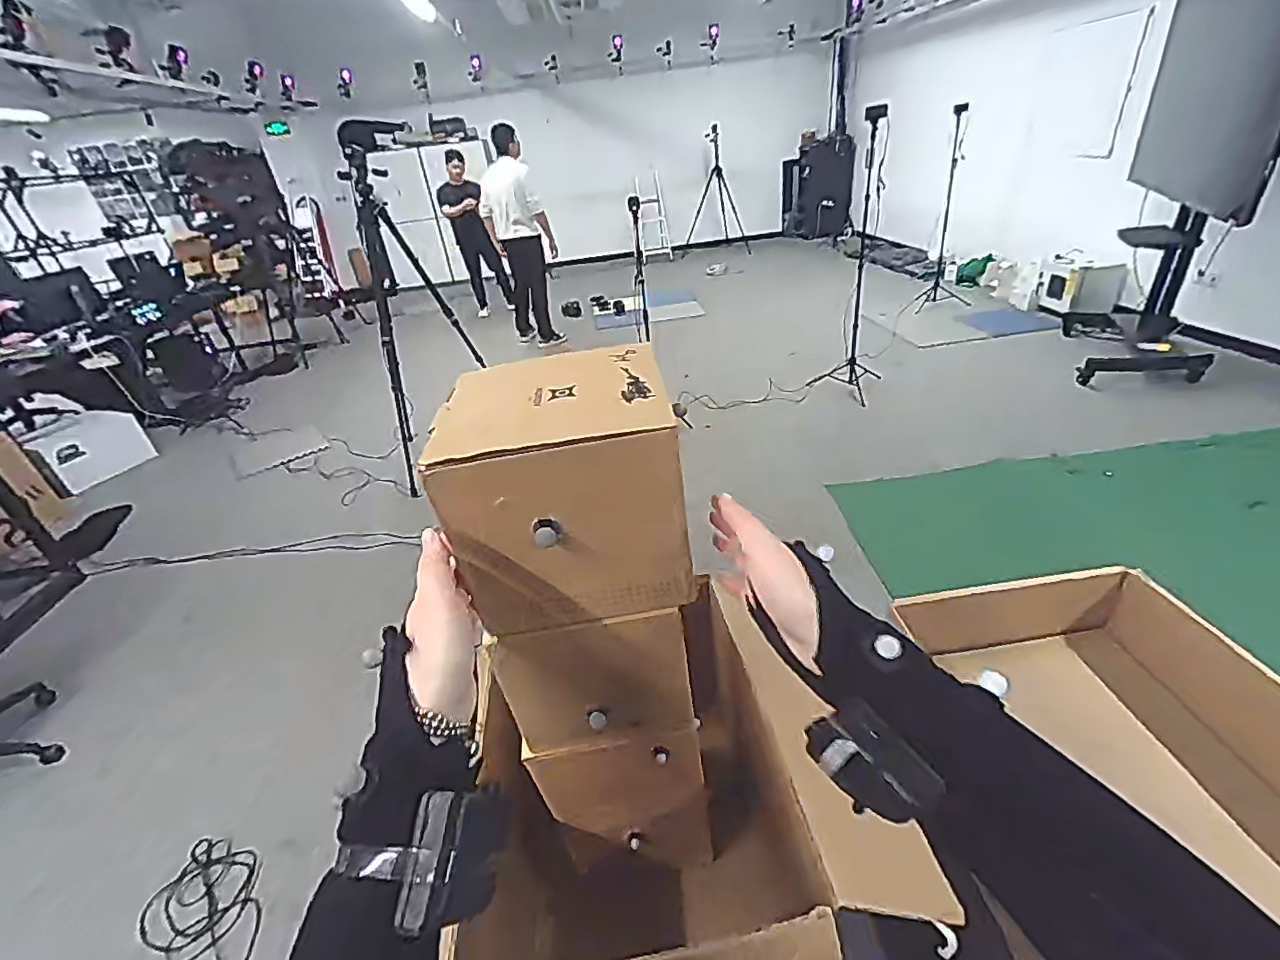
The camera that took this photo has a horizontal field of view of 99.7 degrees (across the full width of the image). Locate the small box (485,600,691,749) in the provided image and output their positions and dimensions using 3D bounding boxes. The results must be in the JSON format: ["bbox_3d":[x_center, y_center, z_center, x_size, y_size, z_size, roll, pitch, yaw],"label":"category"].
[{"bbox_3d":[-0.045,0.141,0.556,0.168,0.176,0.179,-9,35,0],"label":"small box"}]

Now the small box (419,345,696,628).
[{"bbox_3d":[-0.056,0.005,0.464,0.179,0.176,0.168,-10,35,0],"label":"small box"}]
